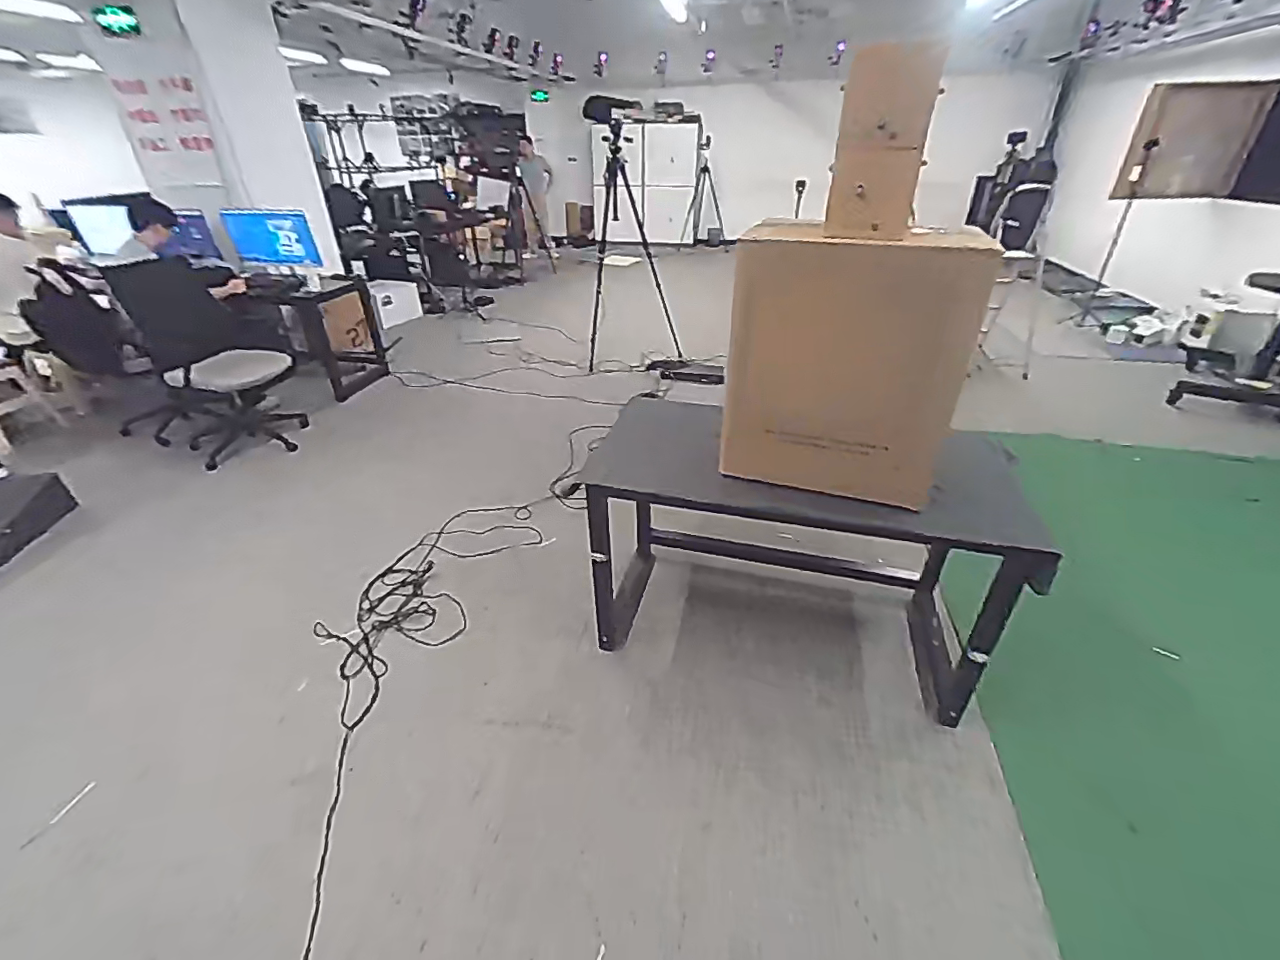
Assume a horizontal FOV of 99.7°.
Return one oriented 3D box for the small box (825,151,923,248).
[{"bbox_3d":[0.503,-0.606,1.168,0.168,0.176,0.179,12,35,20],"label":"small box"}]
